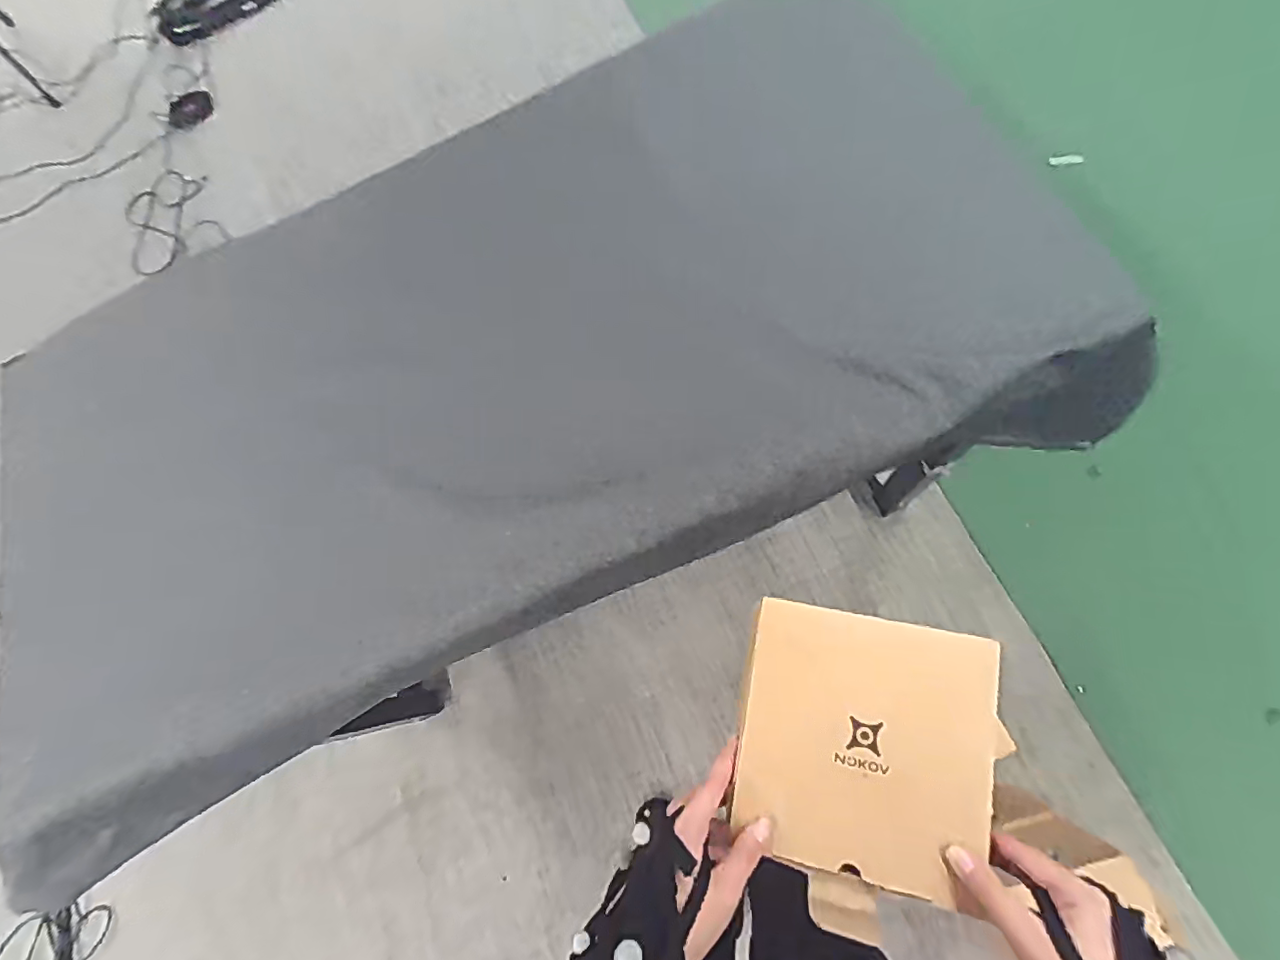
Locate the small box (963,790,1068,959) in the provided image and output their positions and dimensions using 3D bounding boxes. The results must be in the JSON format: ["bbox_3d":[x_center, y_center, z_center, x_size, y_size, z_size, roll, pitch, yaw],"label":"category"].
[{"bbox_3d":[0.611,0.639,0.893,0.179,0.176,0.168,-21,69,6],"label":"small box"}]

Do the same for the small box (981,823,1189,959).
[{"bbox_3d":[0.580,0.598,0.737,0.179,0.176,0.168,-21,69,5],"label":"small box"}]

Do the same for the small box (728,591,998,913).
[{"bbox_3d":[0.167,0.198,0.449,0.168,0.176,0.179,8,77,12],"label":"small box"}]
